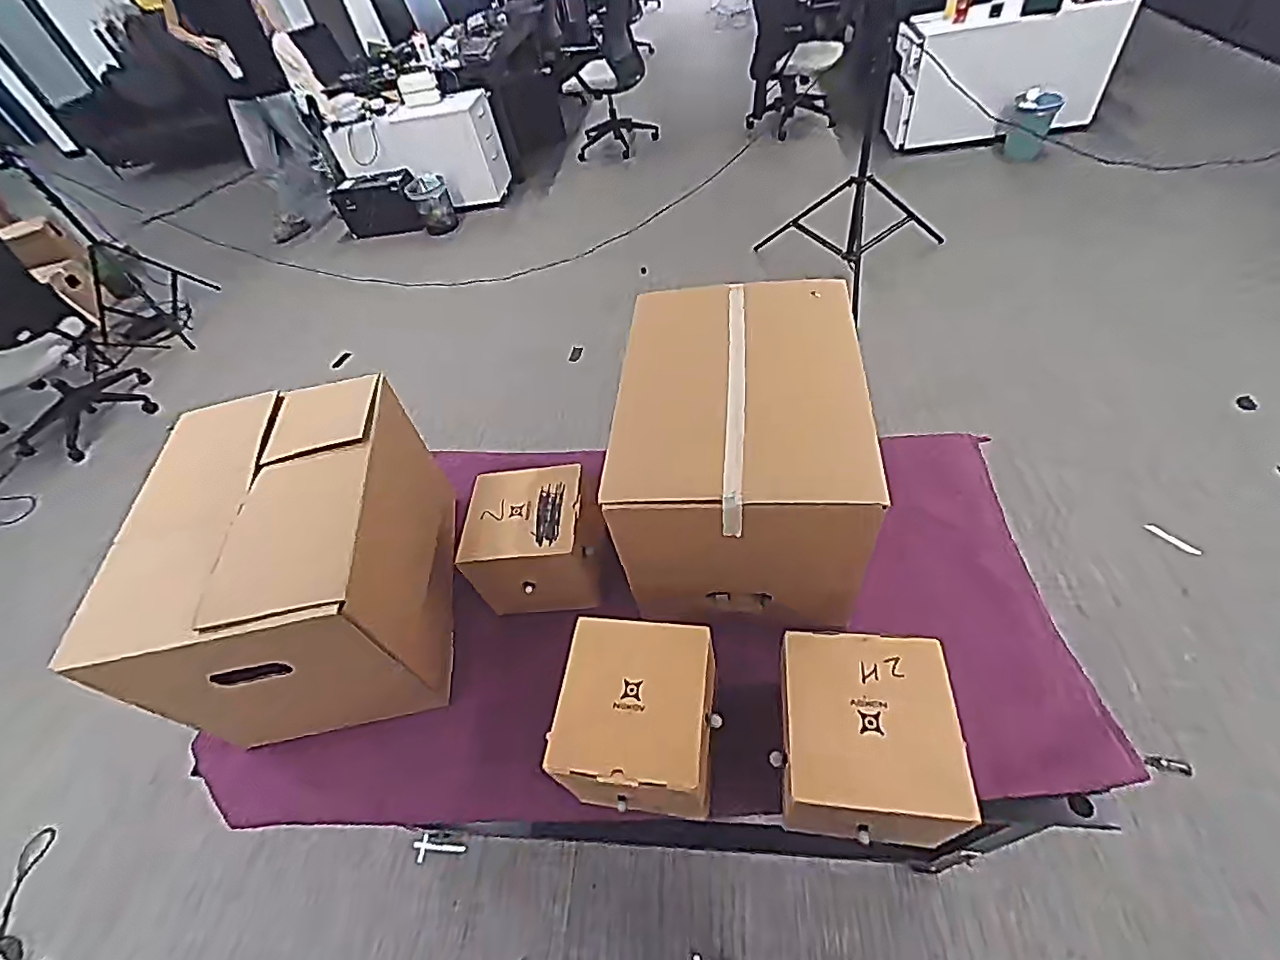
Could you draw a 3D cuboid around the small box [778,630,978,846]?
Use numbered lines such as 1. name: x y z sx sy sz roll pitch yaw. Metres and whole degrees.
1. small box: 0.244 0.288 0.603 0.168 0.176 0.179 1 49 11
